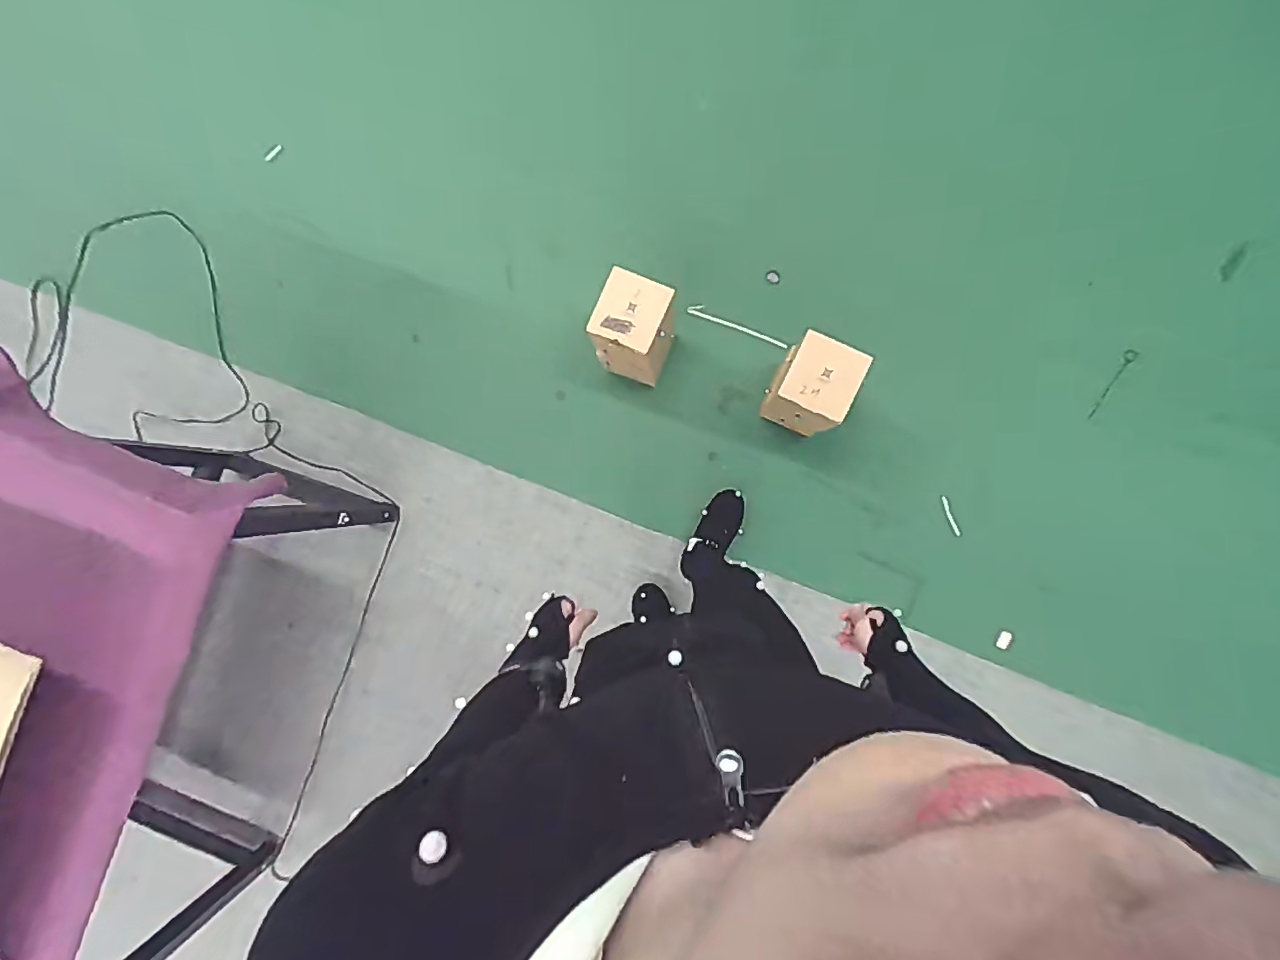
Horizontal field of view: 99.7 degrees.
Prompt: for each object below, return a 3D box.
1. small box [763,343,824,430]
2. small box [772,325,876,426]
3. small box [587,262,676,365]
[{"bbox_3d":[0.455,-0.252,1.500,0.168,0.176,0.179,24,92,4],"label":"small box"},{"bbox_3d":[0.442,-0.249,1.336,0.168,0.176,0.179,26,92,5],"label":"small box"},{"bbox_3d":[-0.013,-0.414,1.378,0.168,0.176,0.179,24,89,5],"label":"small box"}]
